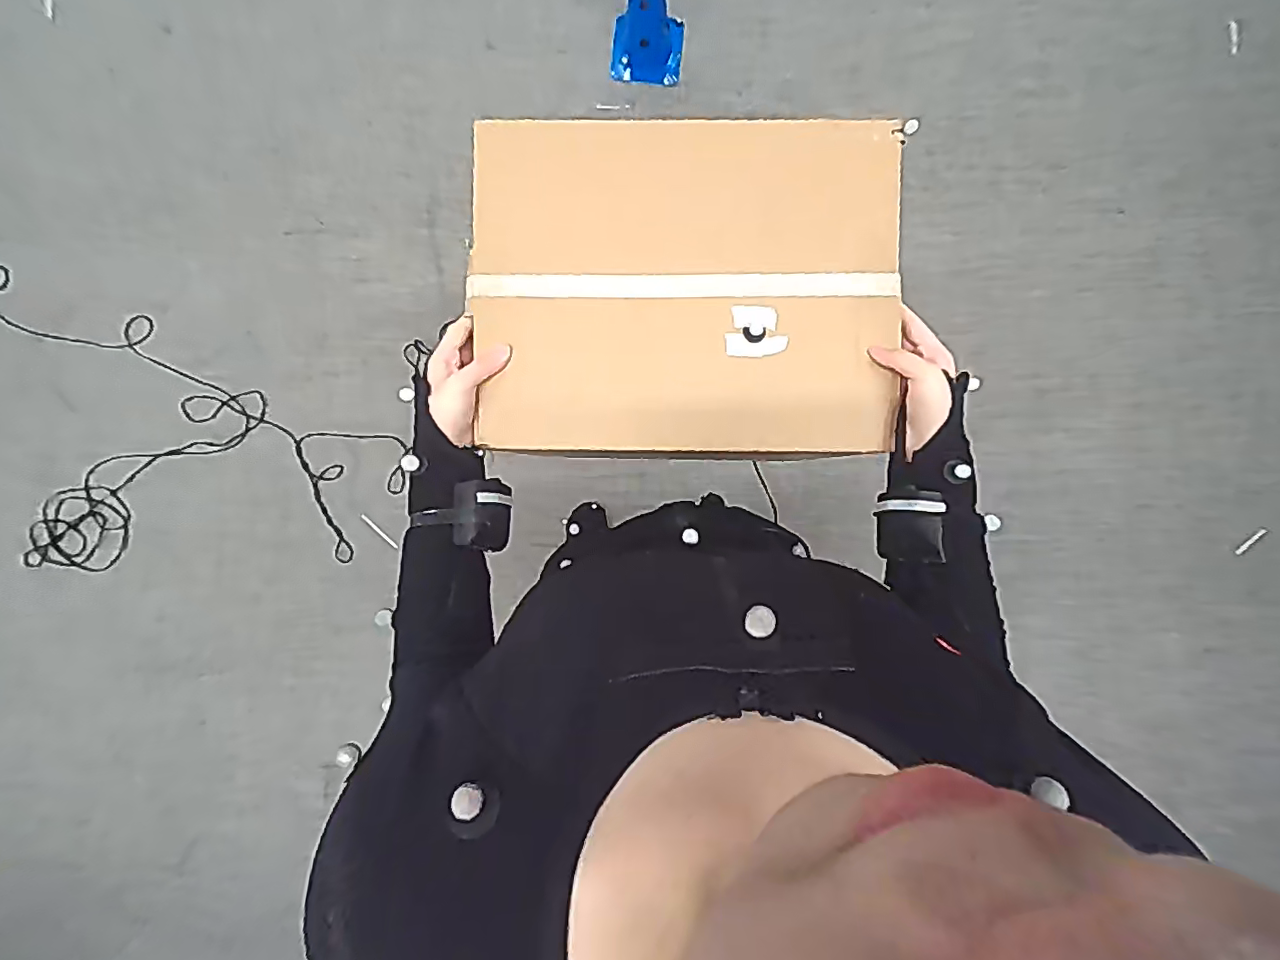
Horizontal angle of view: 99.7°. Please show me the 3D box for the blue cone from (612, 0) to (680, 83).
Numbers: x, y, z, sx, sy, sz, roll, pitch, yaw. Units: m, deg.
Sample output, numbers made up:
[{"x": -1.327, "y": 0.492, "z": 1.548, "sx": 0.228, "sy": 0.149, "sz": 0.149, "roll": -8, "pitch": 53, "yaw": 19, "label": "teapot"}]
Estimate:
[{"x": 0.014, "y": -1.260, "z": 1.410, "sx": 0.193, "sy": 0.380, "sz": 0.192, "roll": 8, "pitch": 87, "yaw": 2, "label": "blue cone"}]

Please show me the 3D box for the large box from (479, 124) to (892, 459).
[{"x": 0.042, "y": -0.189, "z": 0.670, "sx": 0.408, "sy": 0.320, "sz": 0.320, "roll": 0, "pitch": 91, "yaw": 0, "label": "large box"}]
